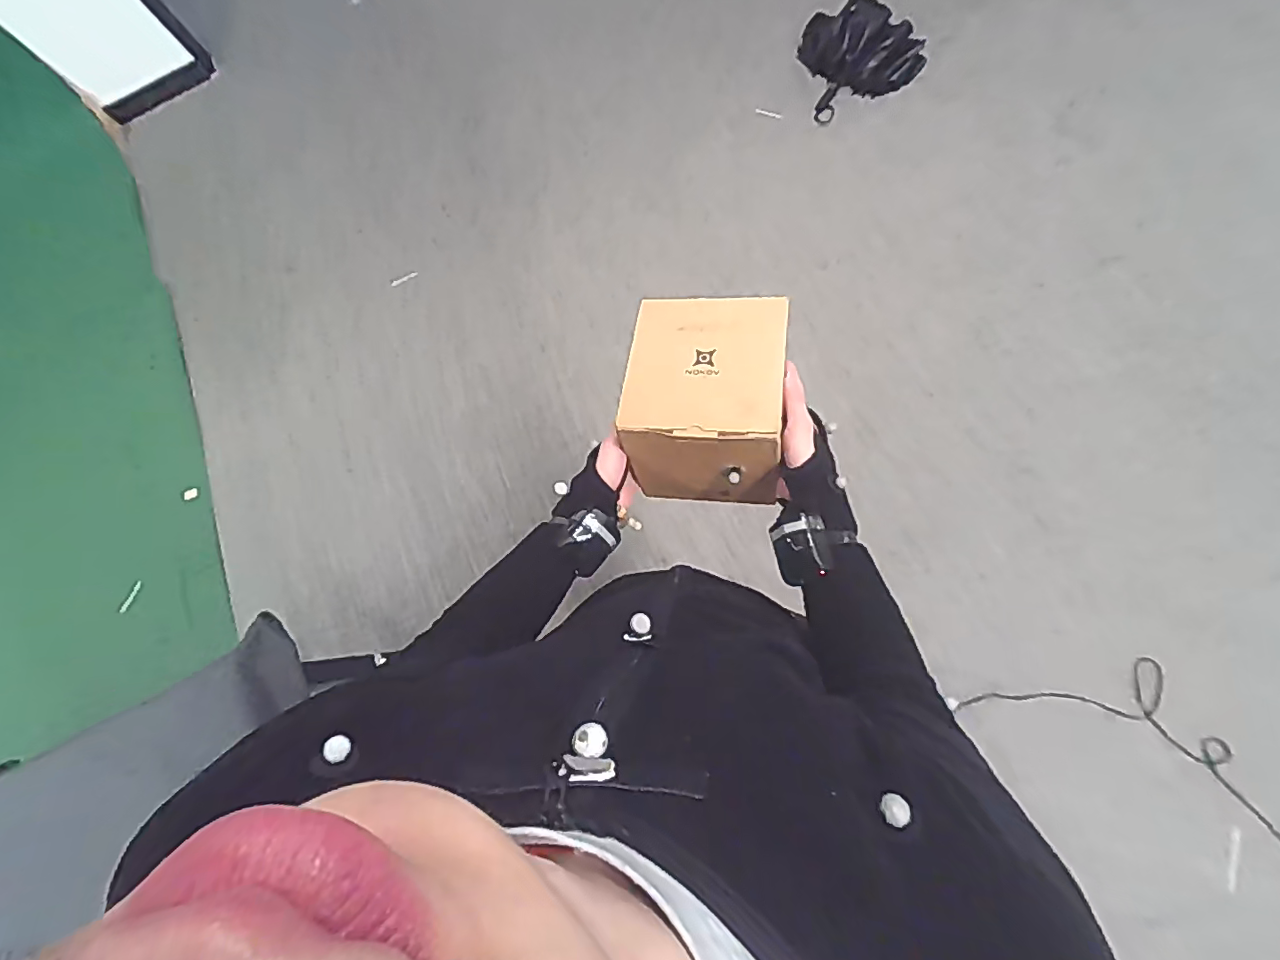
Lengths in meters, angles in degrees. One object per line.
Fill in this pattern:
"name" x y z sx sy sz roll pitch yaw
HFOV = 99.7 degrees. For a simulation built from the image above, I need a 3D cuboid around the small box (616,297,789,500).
"small box" 0.082 -0.089 0.634 0.168 0.176 0.179 4 63 13
